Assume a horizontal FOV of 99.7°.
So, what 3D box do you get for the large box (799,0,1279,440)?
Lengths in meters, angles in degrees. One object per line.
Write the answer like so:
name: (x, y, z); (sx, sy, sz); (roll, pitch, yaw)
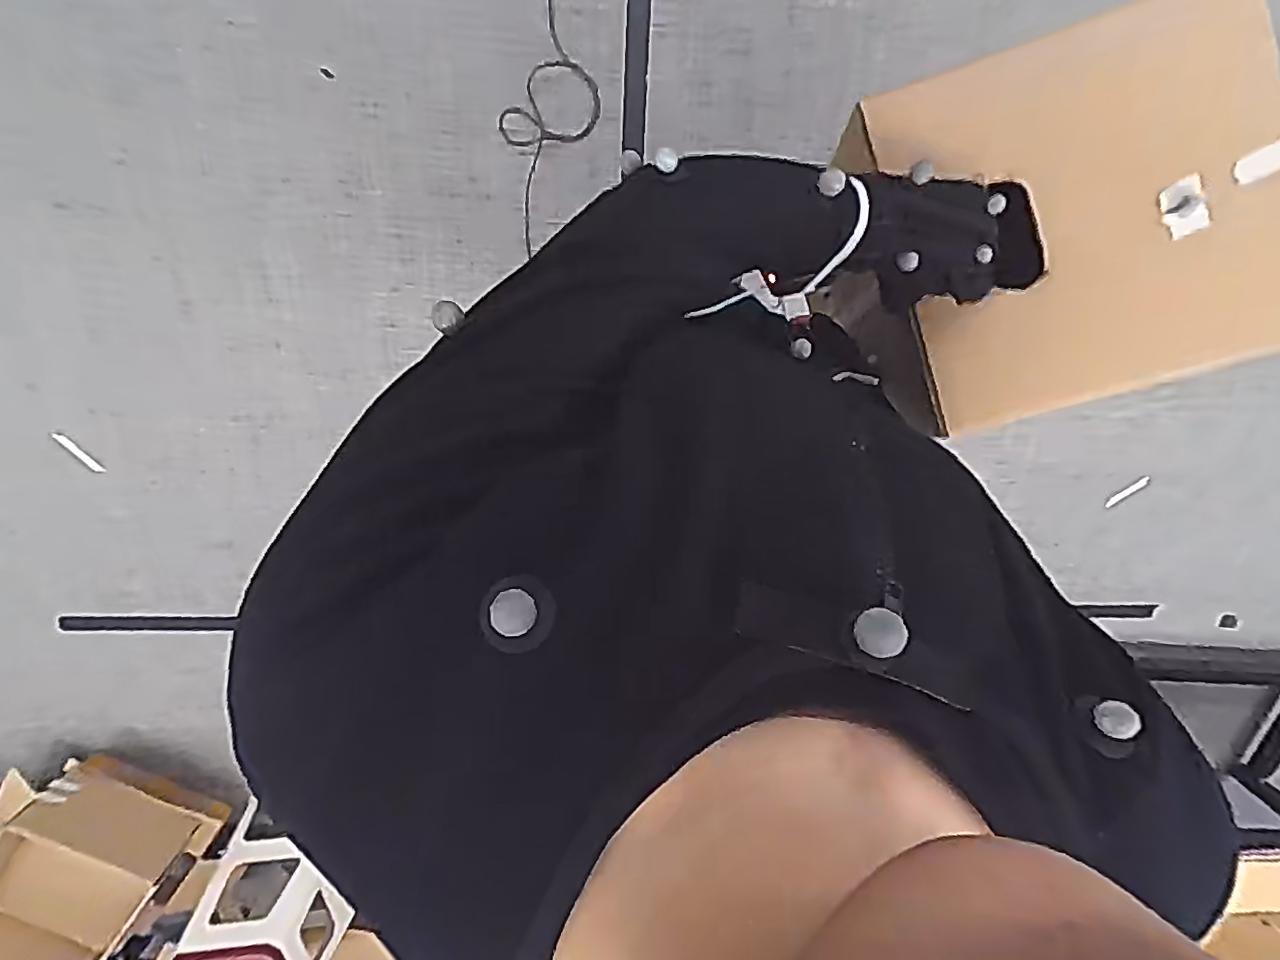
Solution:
large box: (0.412, -0.242, 0.664); (0.320, 0.408, 0.320); (-15, 93, 10)
